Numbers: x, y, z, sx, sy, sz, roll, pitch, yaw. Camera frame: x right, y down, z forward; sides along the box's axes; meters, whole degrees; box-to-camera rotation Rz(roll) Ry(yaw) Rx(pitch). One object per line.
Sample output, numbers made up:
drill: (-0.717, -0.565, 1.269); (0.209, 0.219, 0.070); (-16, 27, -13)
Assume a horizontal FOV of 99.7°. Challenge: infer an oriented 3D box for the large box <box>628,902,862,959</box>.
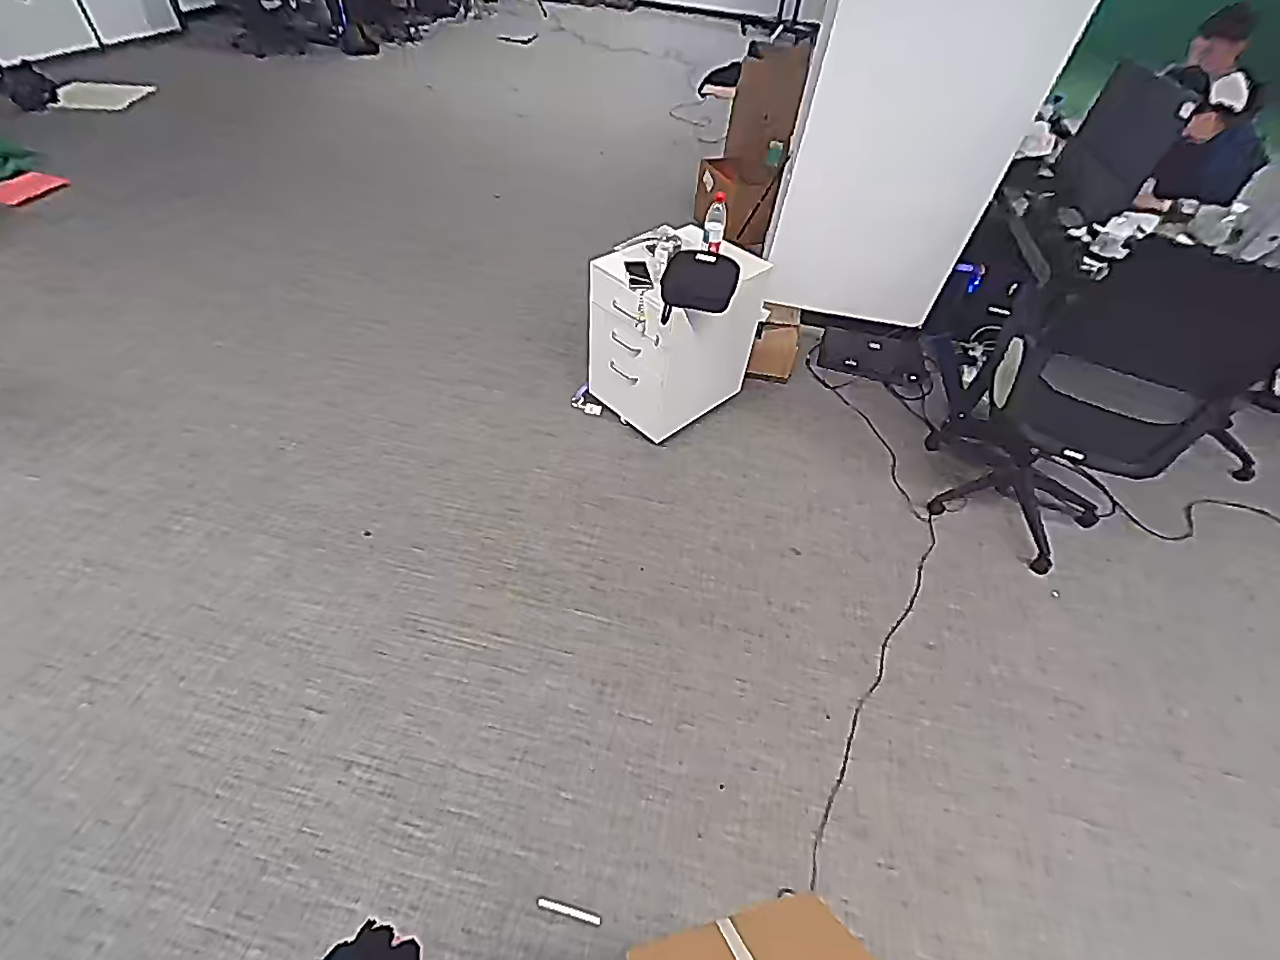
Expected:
large box: (0.188, 0.808, 0.628); (0.320, 0.408, 0.320); (-7, 82, -13)
